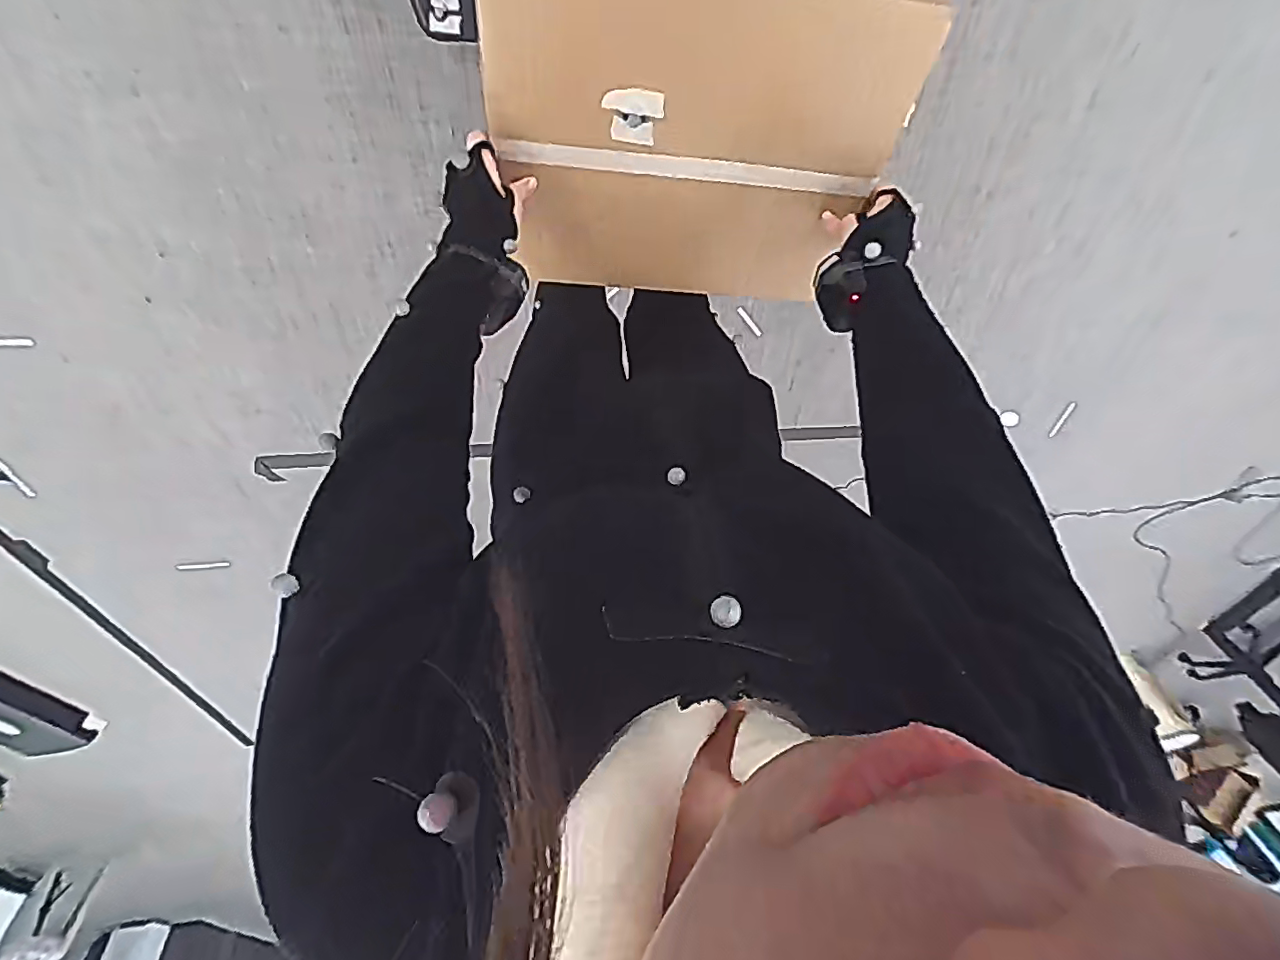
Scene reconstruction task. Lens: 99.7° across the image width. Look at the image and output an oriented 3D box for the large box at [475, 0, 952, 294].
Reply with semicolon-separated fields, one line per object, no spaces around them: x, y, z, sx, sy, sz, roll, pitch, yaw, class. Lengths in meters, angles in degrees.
0.047;-0.453;0.632;0.408;0.320;0.320;2;146;-7;large box
